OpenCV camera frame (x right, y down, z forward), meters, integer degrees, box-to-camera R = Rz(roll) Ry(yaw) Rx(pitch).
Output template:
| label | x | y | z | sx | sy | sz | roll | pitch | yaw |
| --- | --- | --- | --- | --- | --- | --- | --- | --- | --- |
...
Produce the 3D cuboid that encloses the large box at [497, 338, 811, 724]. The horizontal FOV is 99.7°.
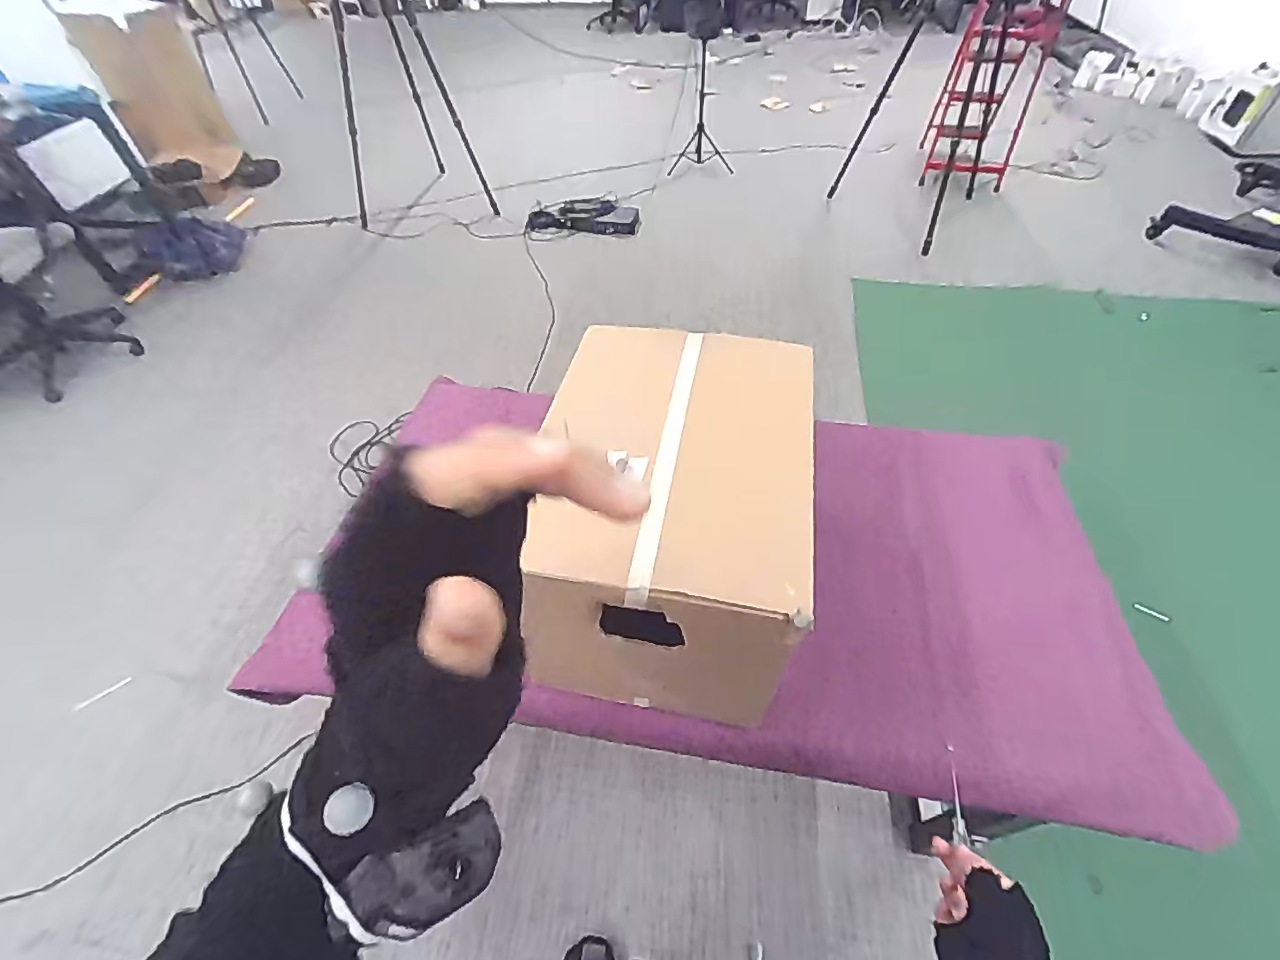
| label | x | y | z | sx | sy | sz | roll | pitch | yaw |
| --- | --- | --- | --- | --- | --- | --- | --- | --- | --- |
| large box | 0.044 | 0.061 | 0.749 | 0.320 | 0.320 | 0.408 | 8 | 50 | 9 |
